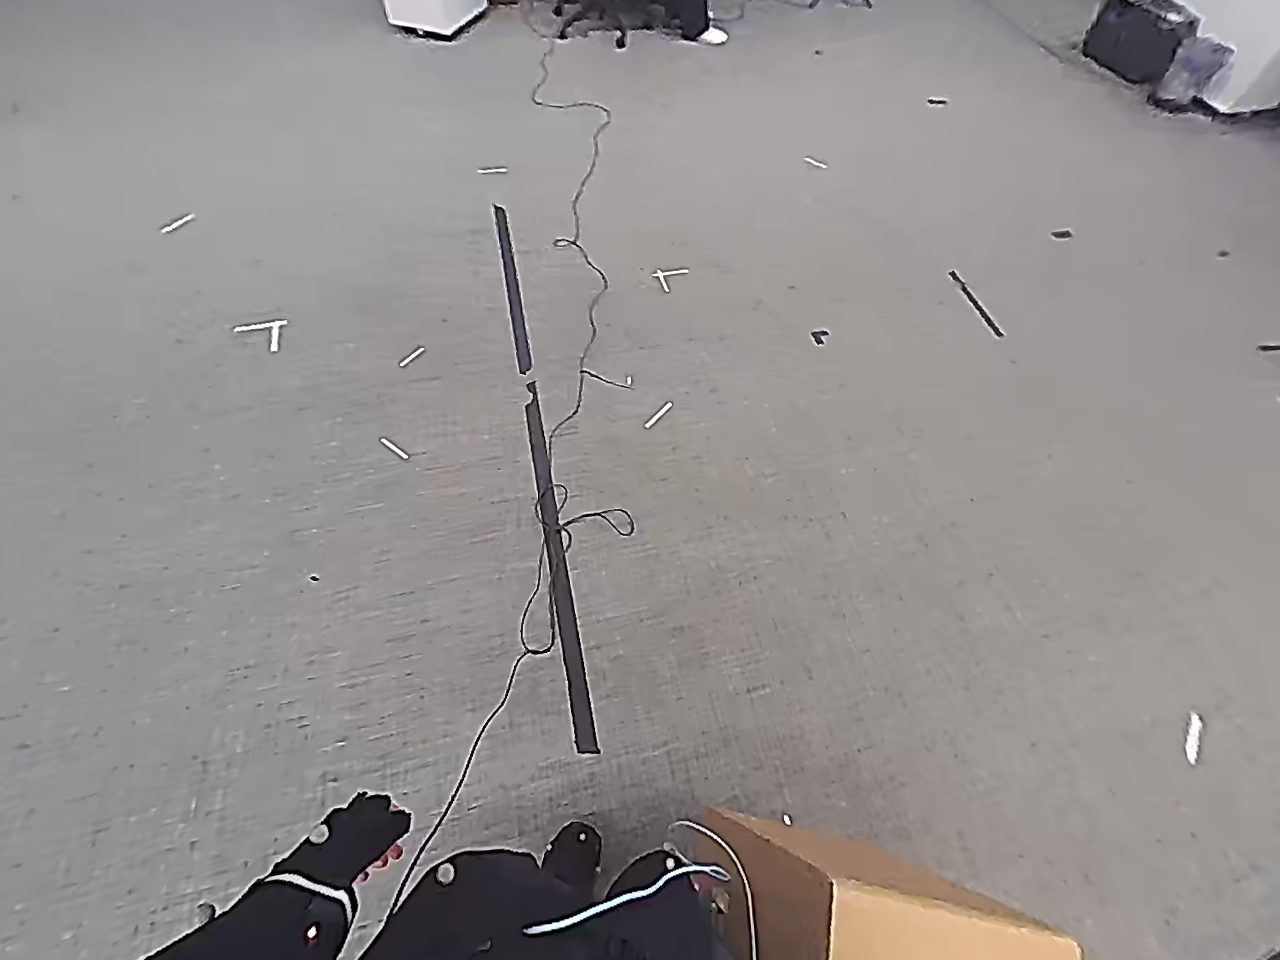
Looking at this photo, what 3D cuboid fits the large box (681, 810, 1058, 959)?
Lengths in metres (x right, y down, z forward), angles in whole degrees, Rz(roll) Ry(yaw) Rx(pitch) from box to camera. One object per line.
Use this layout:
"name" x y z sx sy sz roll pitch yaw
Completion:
"large box" 0.269 0.680 0.721 0.320 0.408 0.320 17 67 -6
